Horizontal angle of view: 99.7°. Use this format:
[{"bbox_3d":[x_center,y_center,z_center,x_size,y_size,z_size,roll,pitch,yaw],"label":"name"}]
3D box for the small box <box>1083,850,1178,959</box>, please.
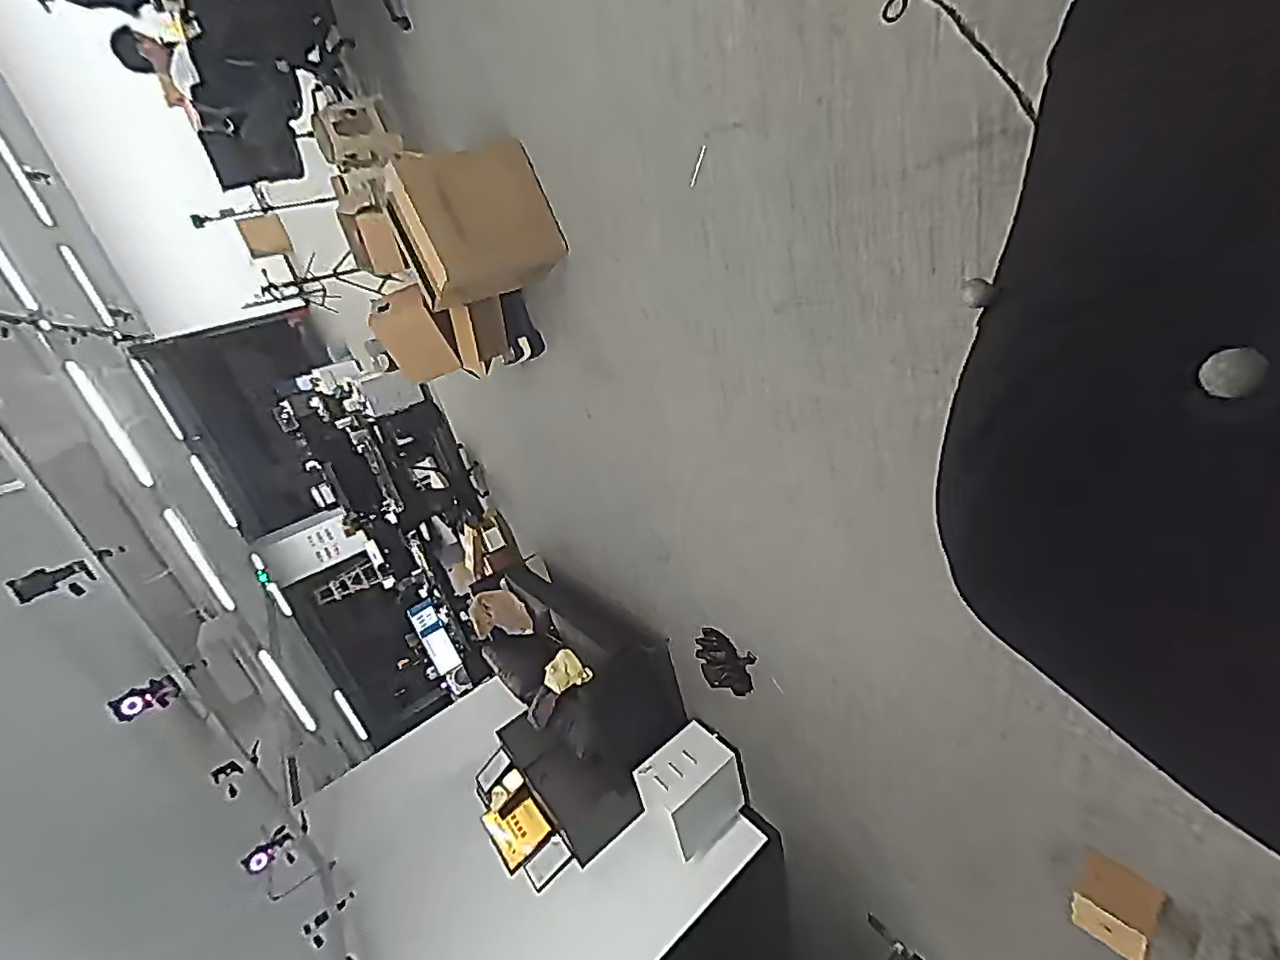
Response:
[{"bbox_3d":[1.491,1.279,1.648,0.179,0.176,0.168,15,128,52],"label":"small box"}]
